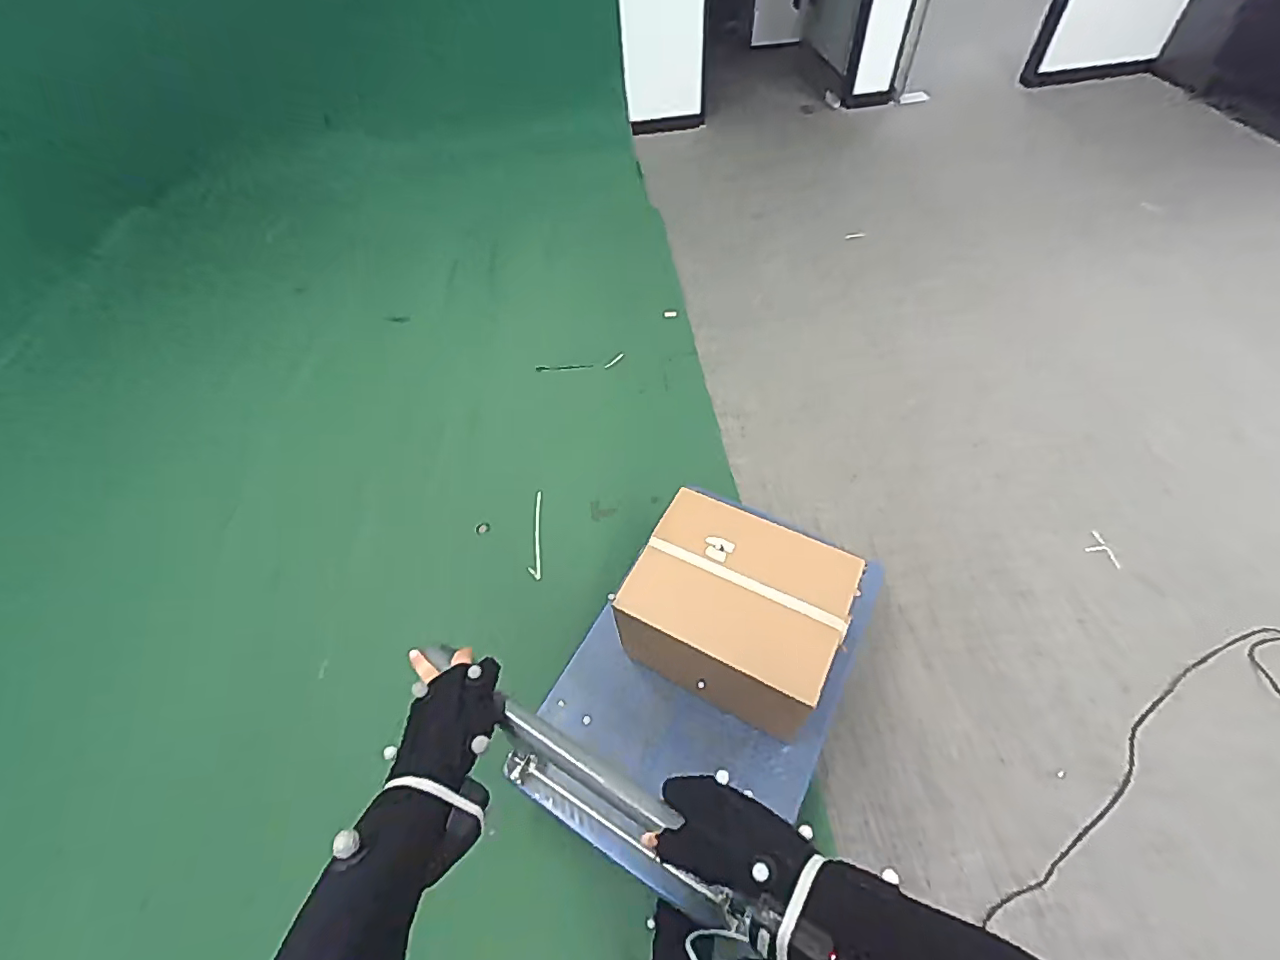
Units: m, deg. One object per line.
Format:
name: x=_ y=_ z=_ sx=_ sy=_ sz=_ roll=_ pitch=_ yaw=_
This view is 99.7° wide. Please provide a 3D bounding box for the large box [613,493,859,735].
large box: x=0.205 y=0.291 z=1.178 sx=0.408 sy=0.320 sz=0.320 roll=22 pitch=58 yaw=20
